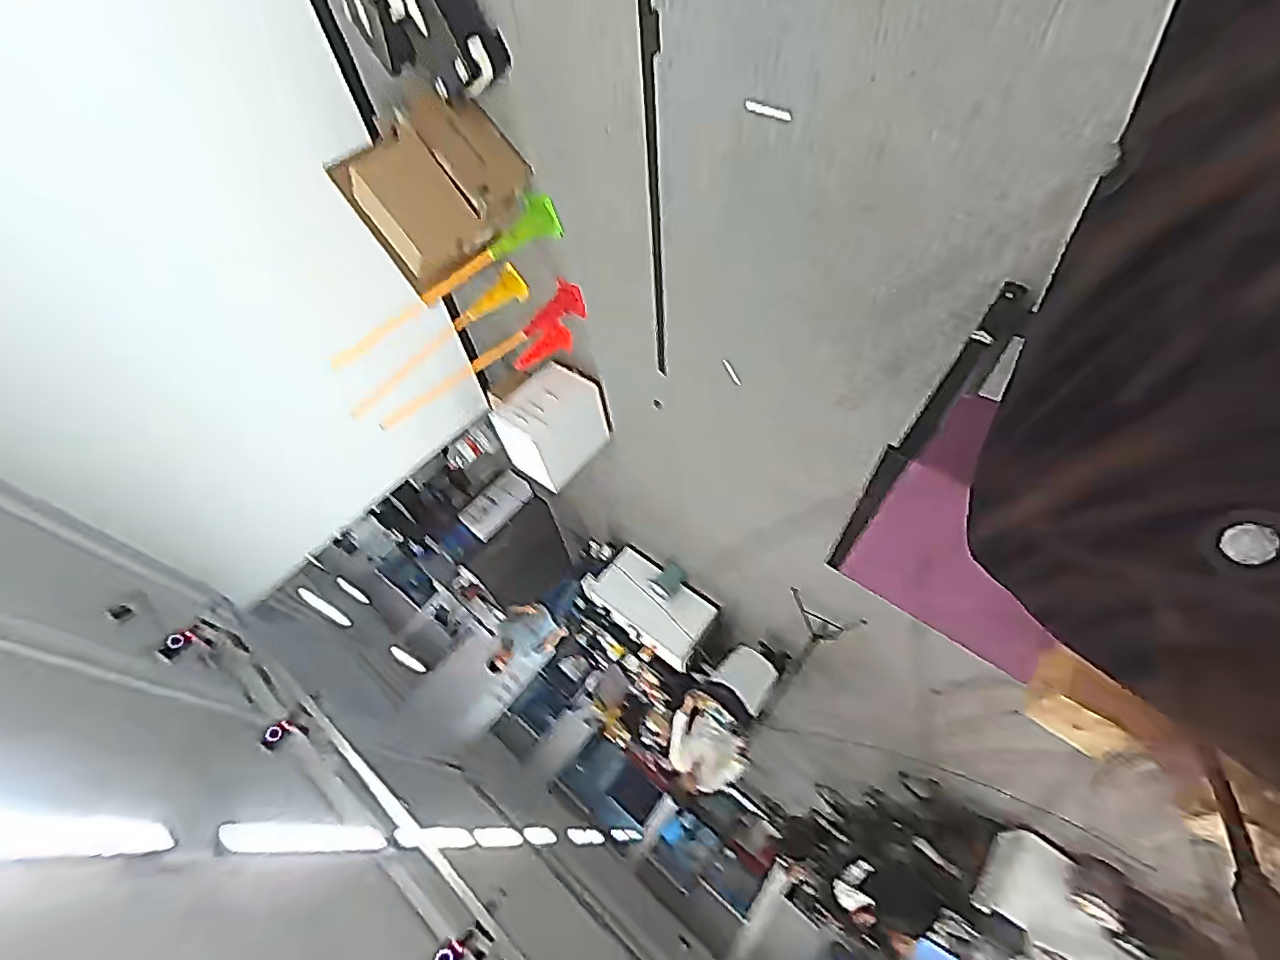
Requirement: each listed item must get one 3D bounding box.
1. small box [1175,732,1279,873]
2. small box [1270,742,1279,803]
[{"bbox_3d":[1.232,0.634,1.065,0.179,0.176,0.168,31,153,25],"label":"small box"},{"bbox_3d":[1.205,0.491,0.871,0.179,0.176,0.168,32,154,23],"label":"small box"}]
